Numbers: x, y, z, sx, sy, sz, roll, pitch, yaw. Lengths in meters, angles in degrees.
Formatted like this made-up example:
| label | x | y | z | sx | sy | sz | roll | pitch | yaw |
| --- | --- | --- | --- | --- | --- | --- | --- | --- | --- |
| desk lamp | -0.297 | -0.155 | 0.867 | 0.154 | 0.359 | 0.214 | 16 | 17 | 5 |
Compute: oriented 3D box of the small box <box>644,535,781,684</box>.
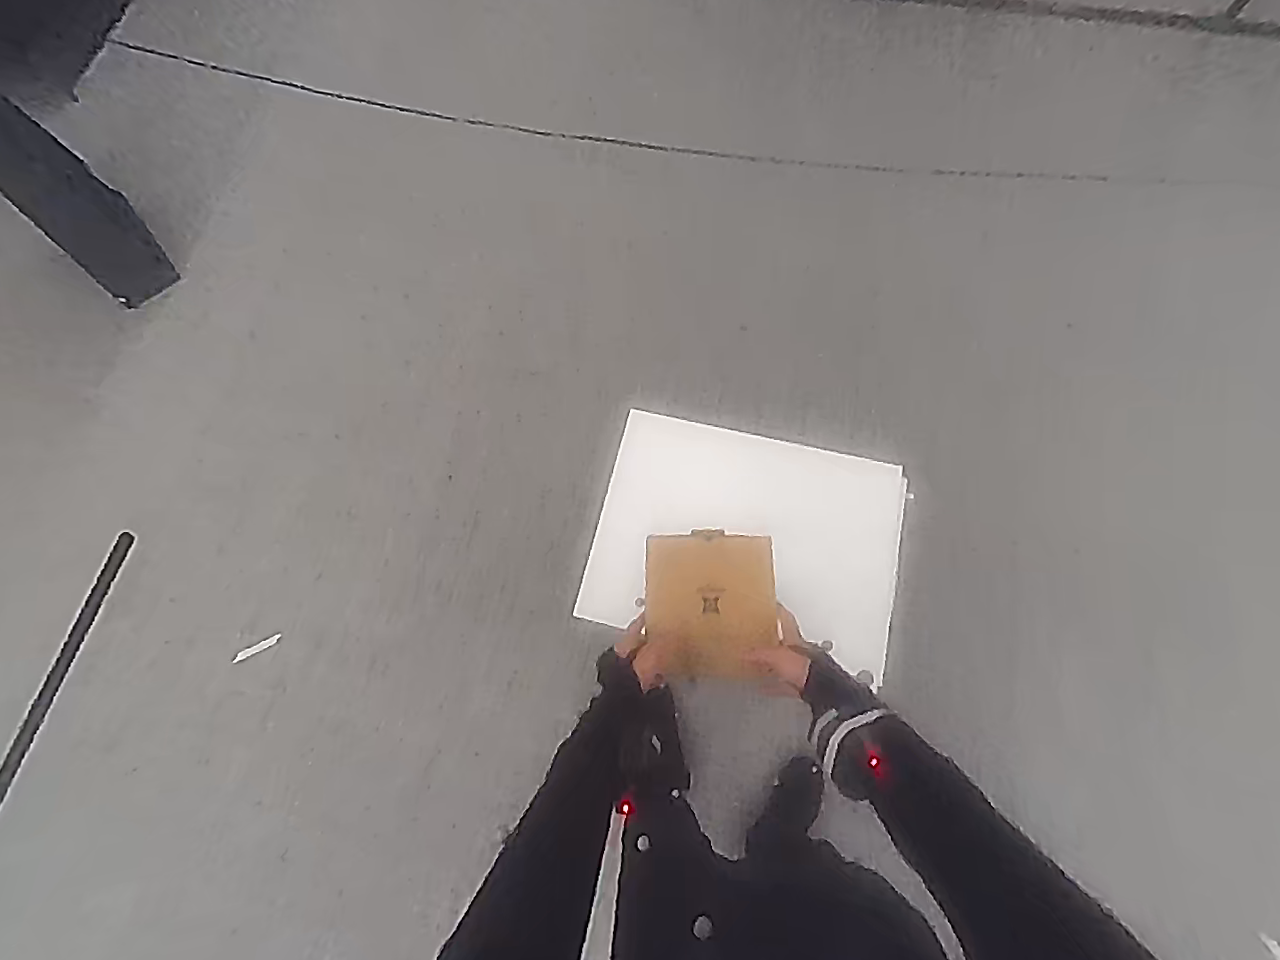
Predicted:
| label | x | y | z | sx | sy | sz | roll | pitch | yaw |
| --- | --- | --- | --- | --- | --- | --- | --- | --- | --- |
| small box | 0.090 | 0.184 | 0.747 | 0.168 | 0.176 | 0.179 | 0 | 69 | 2 |
